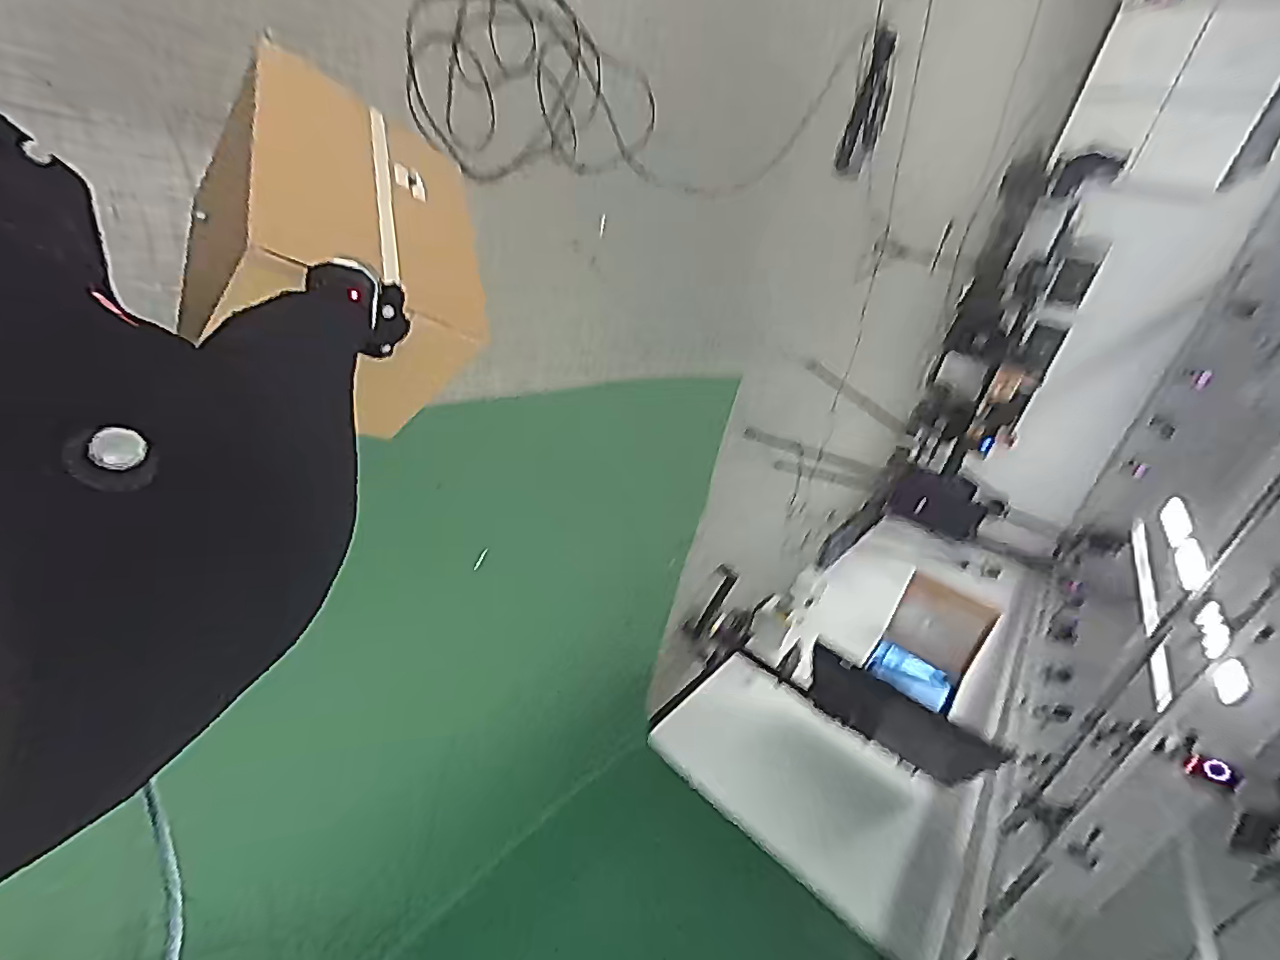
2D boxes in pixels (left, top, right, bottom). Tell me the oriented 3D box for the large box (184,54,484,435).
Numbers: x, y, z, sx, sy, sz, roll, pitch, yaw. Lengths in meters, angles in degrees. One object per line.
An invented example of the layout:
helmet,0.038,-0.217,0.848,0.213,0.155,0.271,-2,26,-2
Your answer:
large box,-0.495,-0.338,0.873,0.320,0.408,0.320,-32,151,31
